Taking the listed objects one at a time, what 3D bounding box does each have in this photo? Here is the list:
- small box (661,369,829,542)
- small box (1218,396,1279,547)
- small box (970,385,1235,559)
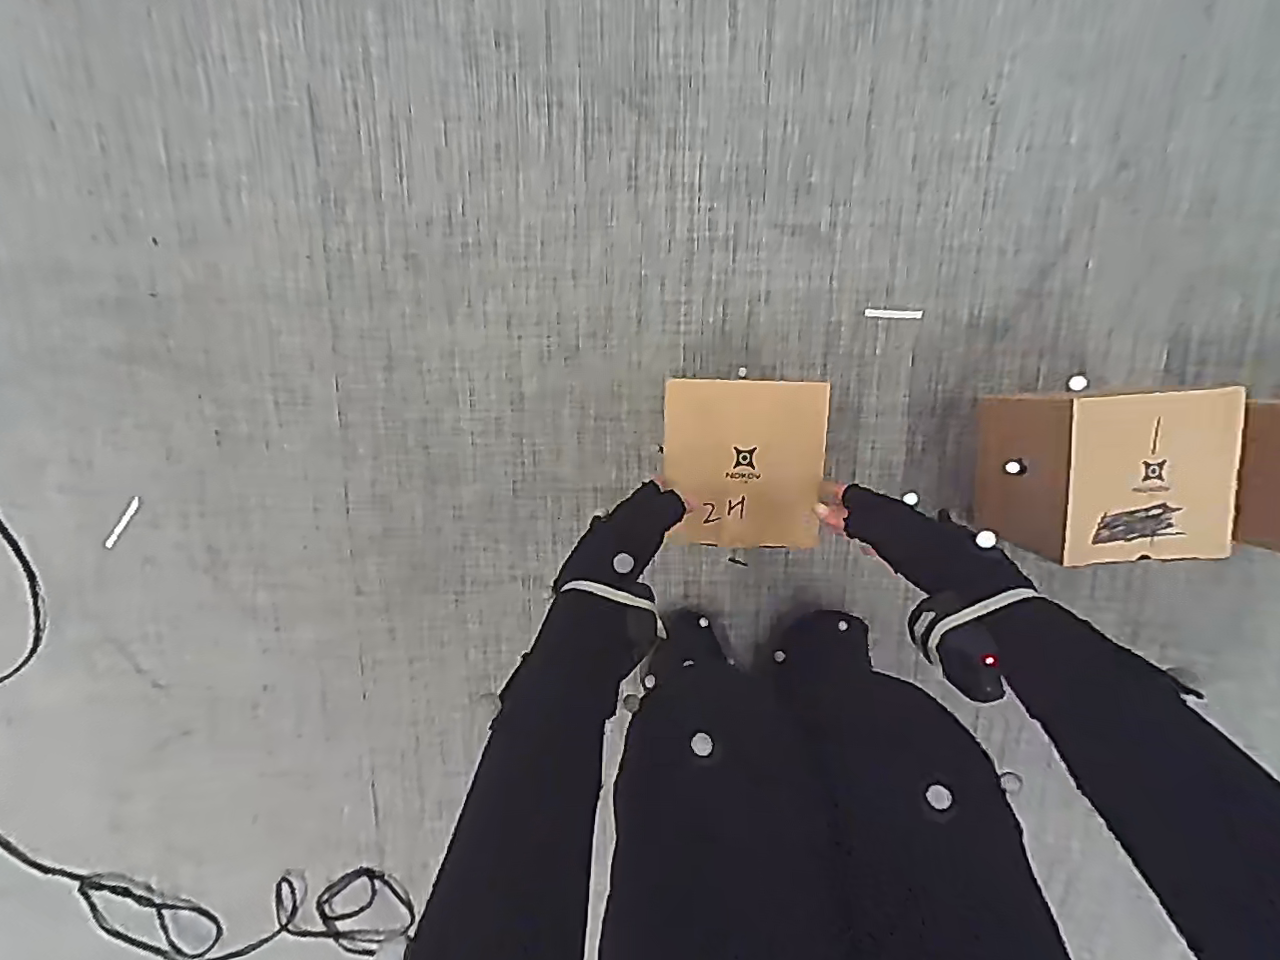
[{"bbox_3d":[0.110,-0.036,0.640,0.168,0.176,0.179,3,100,3],"label":"small box"},{"bbox_3d":[0.805,-0.008,0.620,0.168,0.176,0.179,1,100,3],"label":"small box"},{"bbox_3d":[0.512,-0.019,0.629,0.168,0.176,0.179,-3,98,3],"label":"small box"}]
